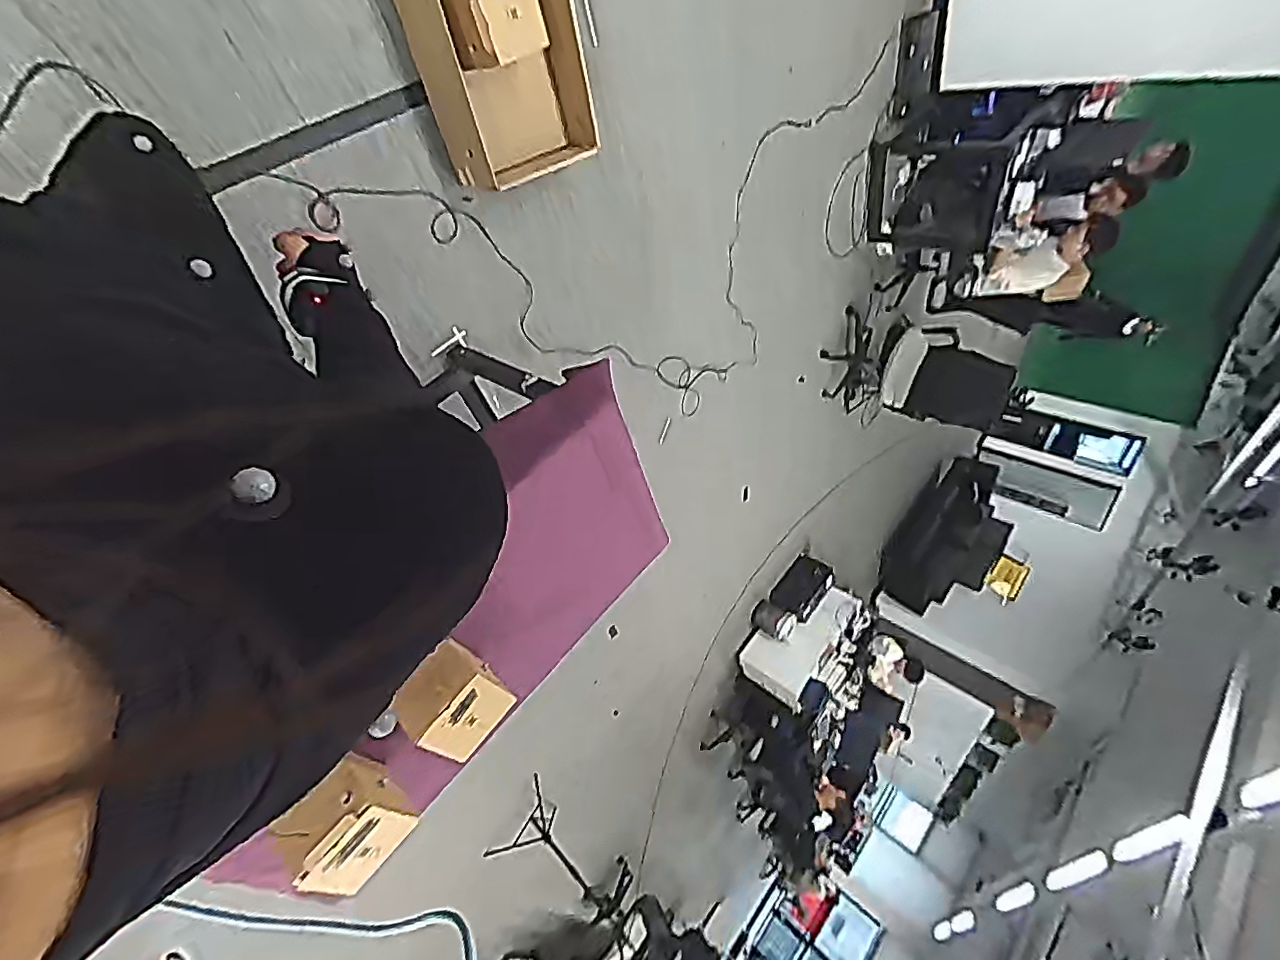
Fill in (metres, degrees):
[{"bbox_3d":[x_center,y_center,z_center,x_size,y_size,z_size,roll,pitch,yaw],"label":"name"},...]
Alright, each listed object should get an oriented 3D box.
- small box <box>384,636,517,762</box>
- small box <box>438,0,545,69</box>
[{"bbox_3d":[-0.407,0.463,1.159,0.168,0.176,0.179,-48,142,-19],"label":"small box"},{"bbox_3d":[-0.376,-1.151,1.349,0.179,0.176,0.168,-45,141,-24],"label":"small box"}]
